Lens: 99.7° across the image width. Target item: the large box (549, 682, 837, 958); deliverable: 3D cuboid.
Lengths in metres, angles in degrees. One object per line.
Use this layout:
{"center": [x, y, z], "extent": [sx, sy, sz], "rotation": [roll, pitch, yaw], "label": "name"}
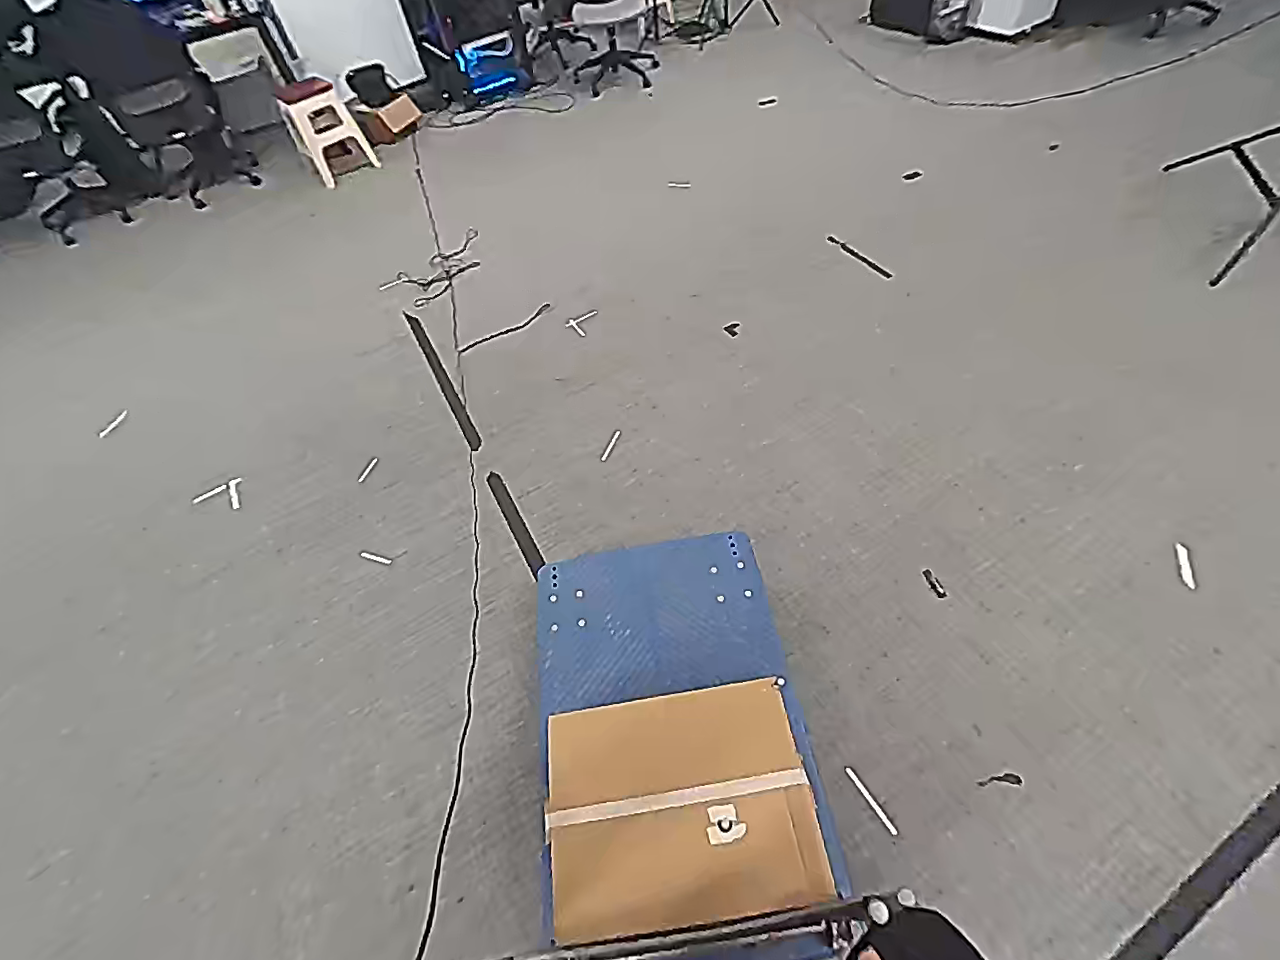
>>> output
{"center": [0.075, 0.594, 0.955], "extent": [0.408, 0.320, 0.320], "rotation": [-10, 53, 0], "label": "large box"}
